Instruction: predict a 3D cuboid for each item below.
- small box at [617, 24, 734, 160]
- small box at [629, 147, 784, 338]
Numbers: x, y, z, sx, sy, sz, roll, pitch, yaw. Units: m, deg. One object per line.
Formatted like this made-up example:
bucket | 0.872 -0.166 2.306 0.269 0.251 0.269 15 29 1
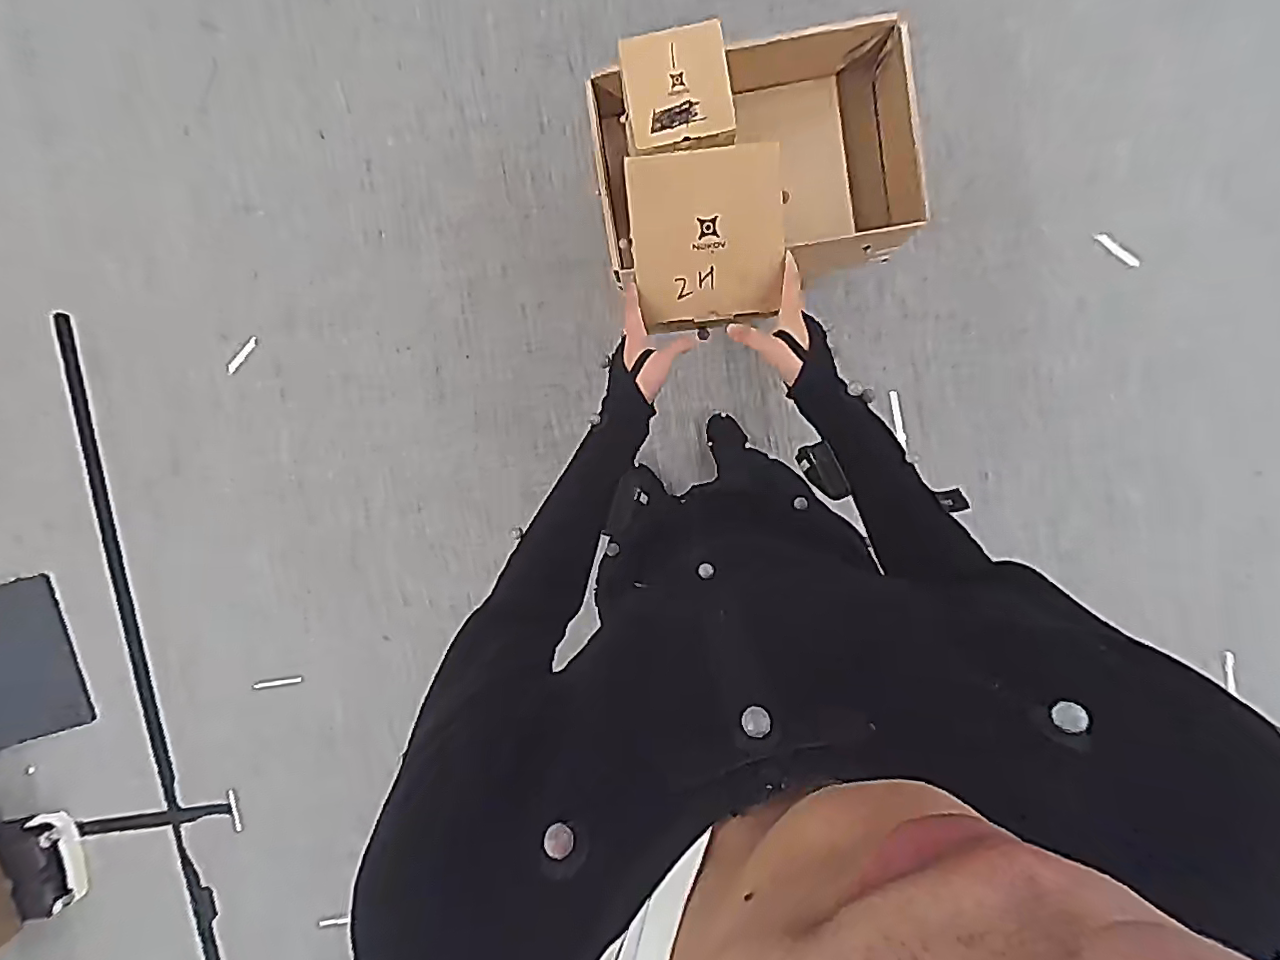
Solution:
small box | 0.061 -0.624 0.936 0.168 0.176 0.179 -10 93 3
small box | 0.074 -0.275 0.664 0.168 0.176 0.179 -4 101 2
